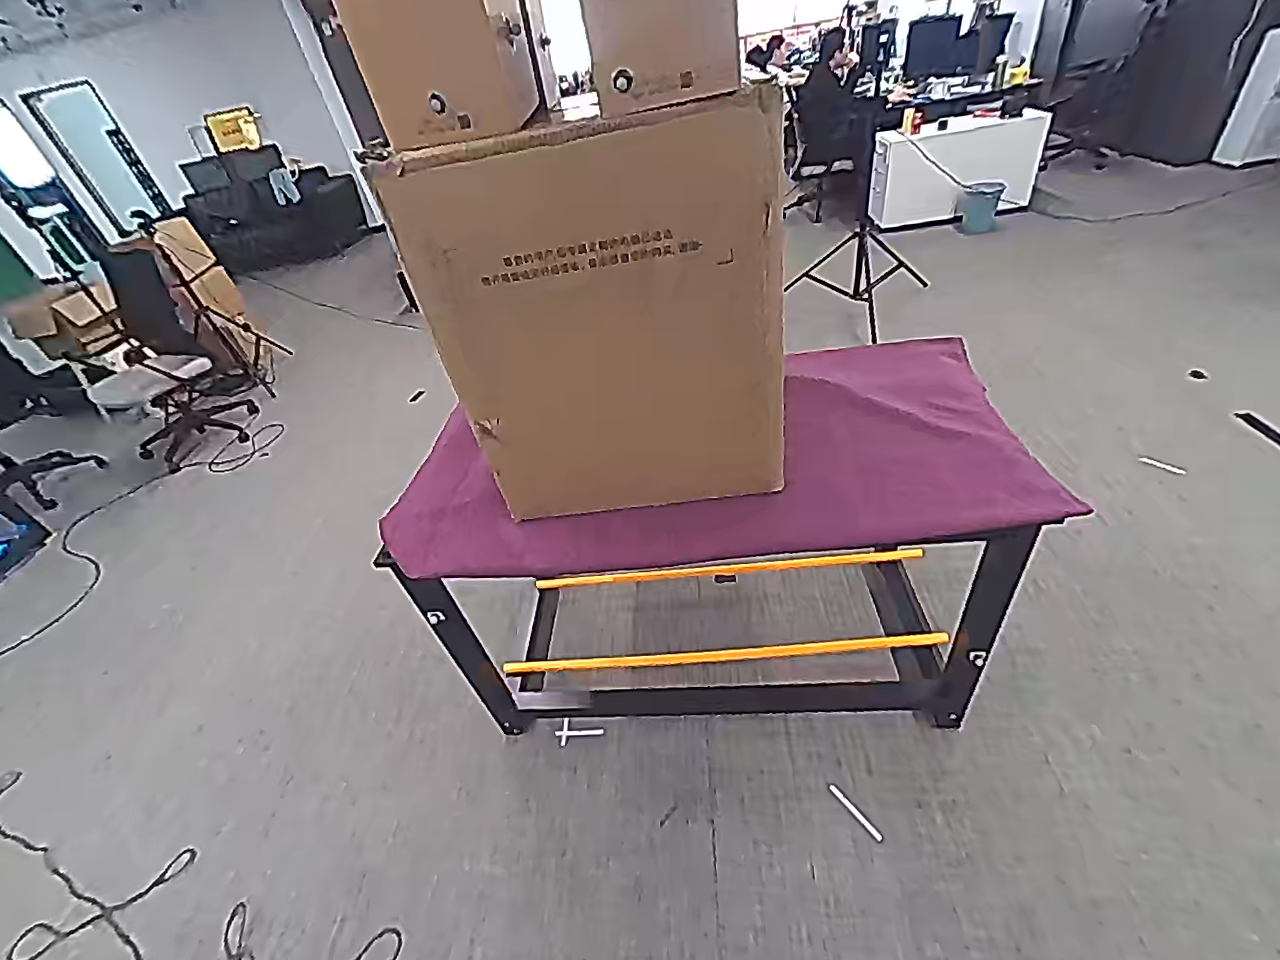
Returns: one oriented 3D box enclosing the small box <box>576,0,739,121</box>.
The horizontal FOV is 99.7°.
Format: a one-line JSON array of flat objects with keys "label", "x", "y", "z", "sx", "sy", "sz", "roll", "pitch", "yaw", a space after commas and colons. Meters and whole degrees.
[{"label": "small box", "x": 0.022, "y": -0.539, "z": 0.632, "sx": 0.168, "sy": 0.176, "sz": 0.179, "roll": -6, "pitch": 41, "yaw": 8}]
